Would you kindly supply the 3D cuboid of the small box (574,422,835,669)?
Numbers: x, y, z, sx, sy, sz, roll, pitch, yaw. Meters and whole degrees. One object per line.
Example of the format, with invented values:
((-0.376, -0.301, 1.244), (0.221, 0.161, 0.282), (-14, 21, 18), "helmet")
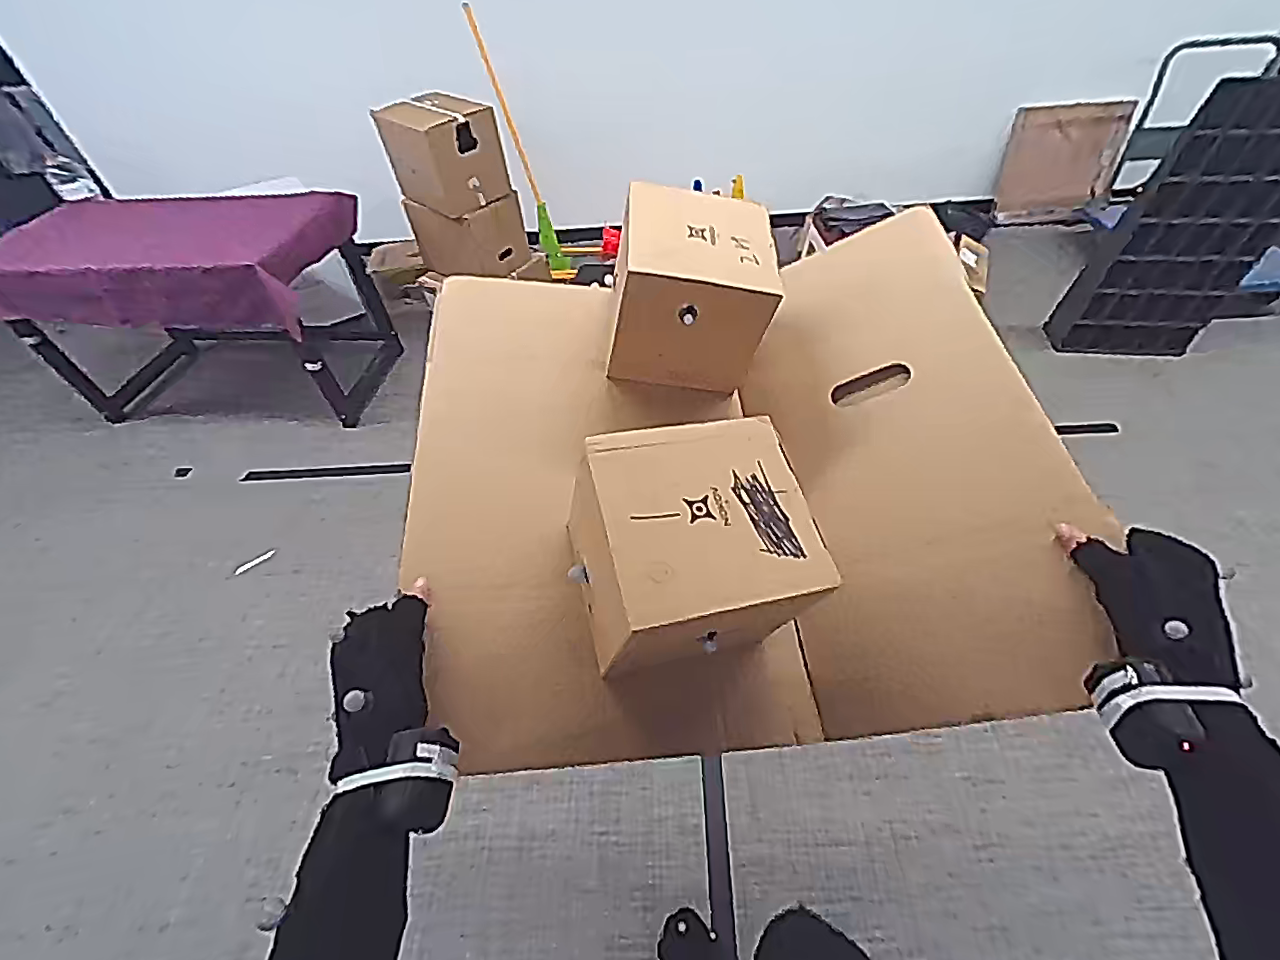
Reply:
((0.042, 0.066, 0.511), (0.179, 0.176, 0.168), (-8, 62, -16), "small box")

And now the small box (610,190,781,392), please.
((0.059, -0.232, 0.692), (0.179, 0.176, 0.168), (7, 59, -9), "small box")
